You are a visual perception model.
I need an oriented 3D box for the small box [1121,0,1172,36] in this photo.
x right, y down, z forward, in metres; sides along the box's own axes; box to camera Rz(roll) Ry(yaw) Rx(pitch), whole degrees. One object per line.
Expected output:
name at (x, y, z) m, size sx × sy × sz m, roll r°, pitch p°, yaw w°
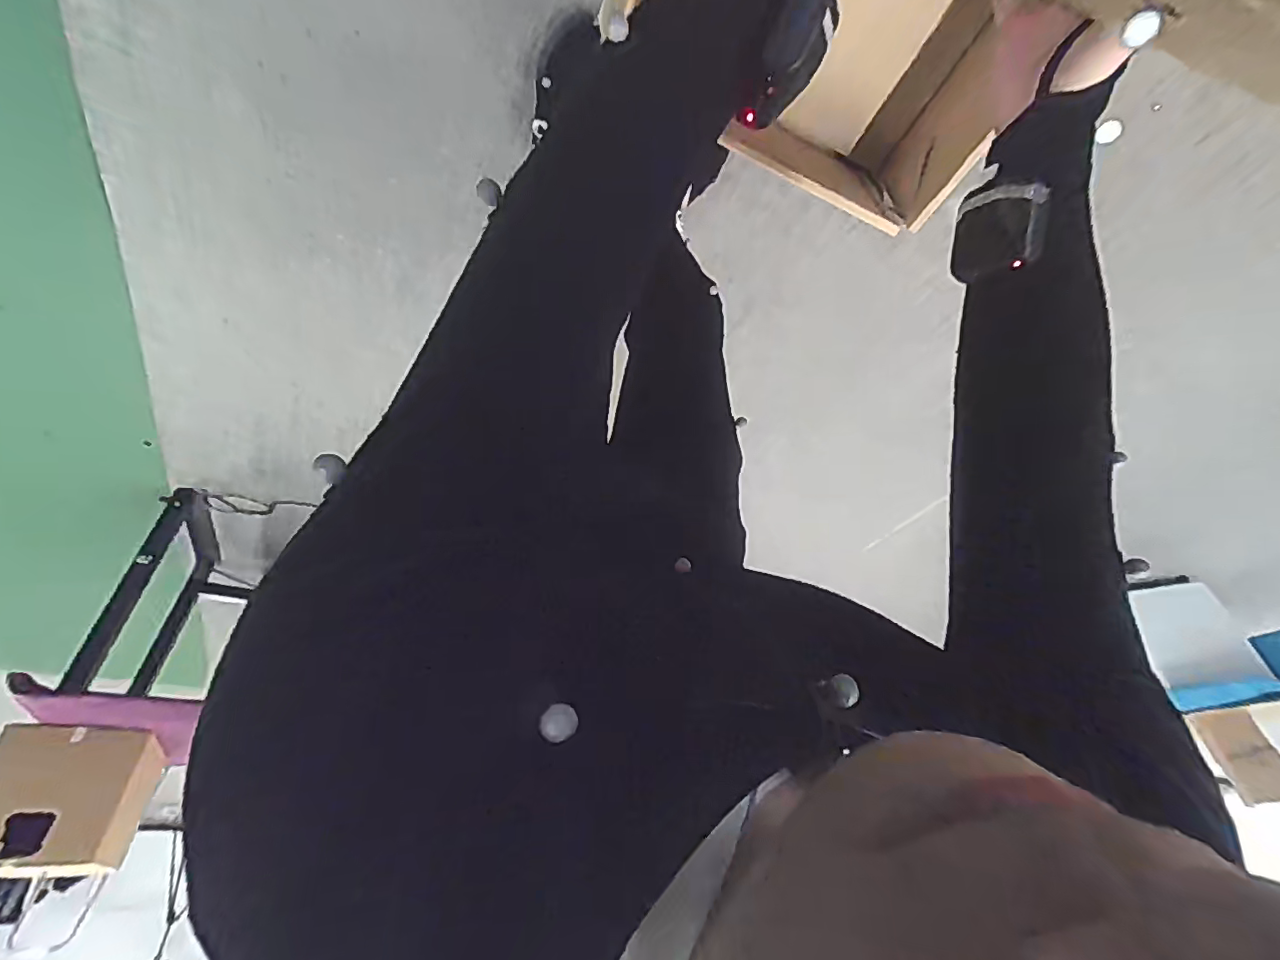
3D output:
small box at (0.279, -0.385, 0.269) m, size 0.168 × 0.176 × 0.179 m, roll 16°, pitch 138°, yaw -24°

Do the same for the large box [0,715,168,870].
large box at (-1.582, 0.872, 1.491) m, size 0.320 × 0.320 × 0.408 m, roll 16°, pitch 138°, yaw -25°
